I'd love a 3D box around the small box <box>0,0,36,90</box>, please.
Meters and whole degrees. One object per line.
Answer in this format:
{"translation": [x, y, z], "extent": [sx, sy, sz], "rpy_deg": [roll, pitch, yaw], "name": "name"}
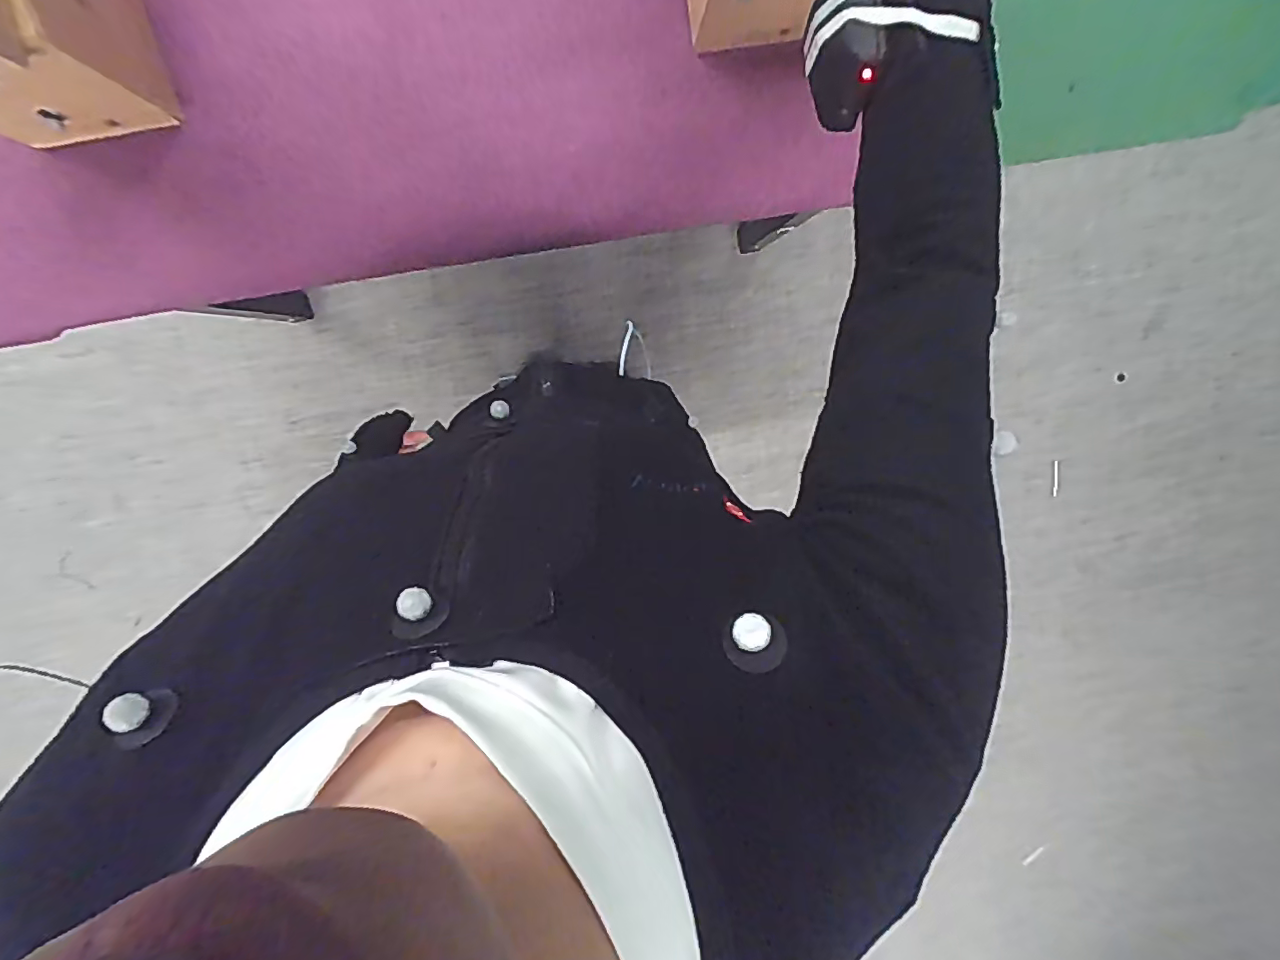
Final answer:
{"translation": [-0.591, -0.391, 0.365], "extent": [0.168, 0.176, 0.179], "rpy_deg": [-7, 103, -4], "name": "small box"}
